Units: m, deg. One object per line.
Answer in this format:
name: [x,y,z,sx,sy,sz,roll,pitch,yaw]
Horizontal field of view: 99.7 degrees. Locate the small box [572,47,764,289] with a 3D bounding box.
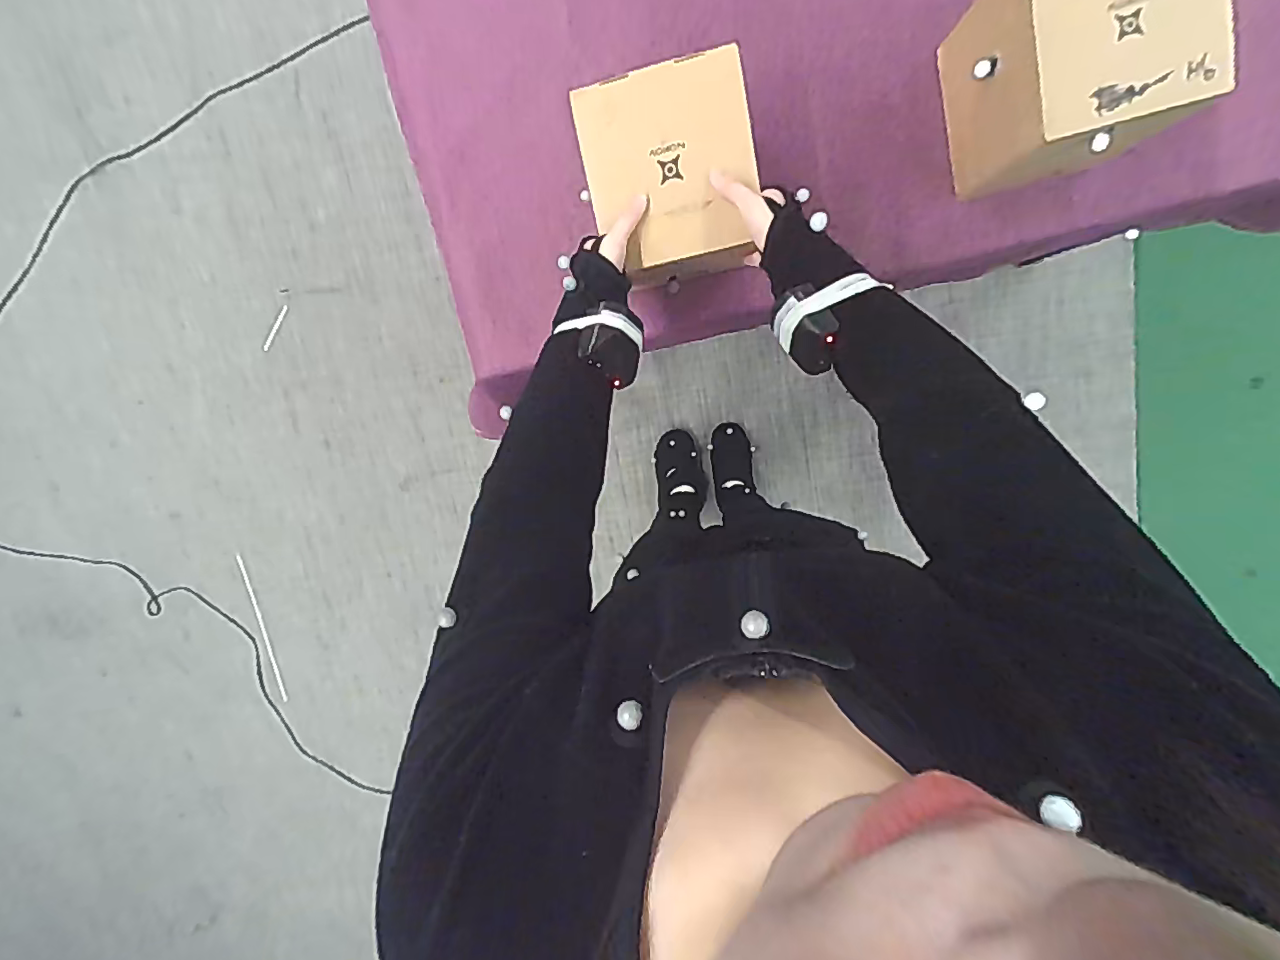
small box: [0.035,-0.325,0.605,0.168,0.176,0.179,-10,104,8]

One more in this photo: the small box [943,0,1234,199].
small box: [0.443,-0.429,0.563,0.168,0.176,0.179,-12,98,8]
